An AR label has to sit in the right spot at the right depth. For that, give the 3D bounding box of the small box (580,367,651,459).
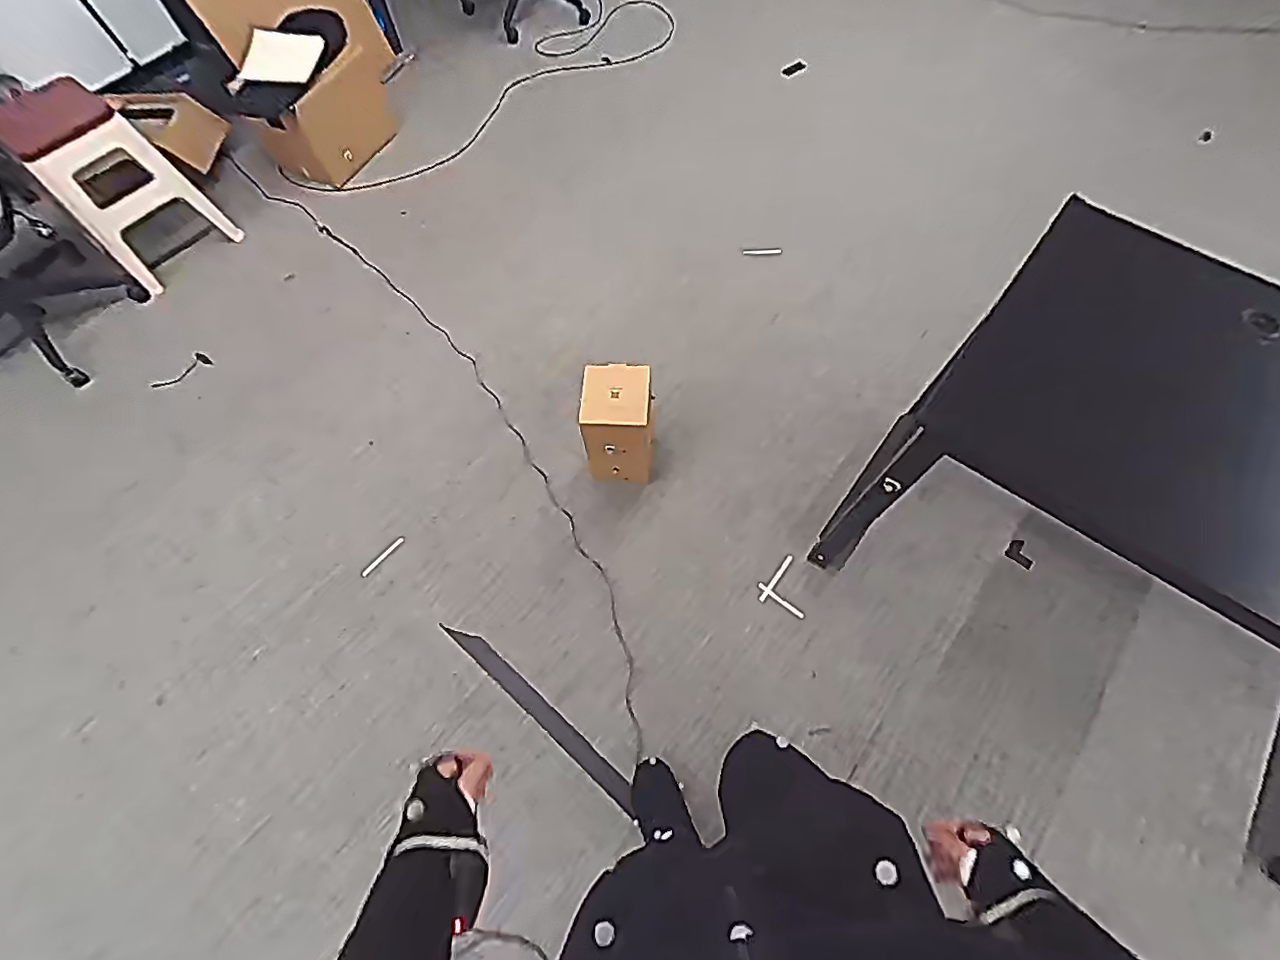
[{"bbox_3d":[-0.057,-0.171,1.396,0.168,0.176,0.179,1,66,3],"label":"small box"}]

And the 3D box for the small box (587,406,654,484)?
[{"bbox_3d":[-0.050,-0.103,1.545,0.168,0.176,0.179,7,65,3],"label":"small box"}]
